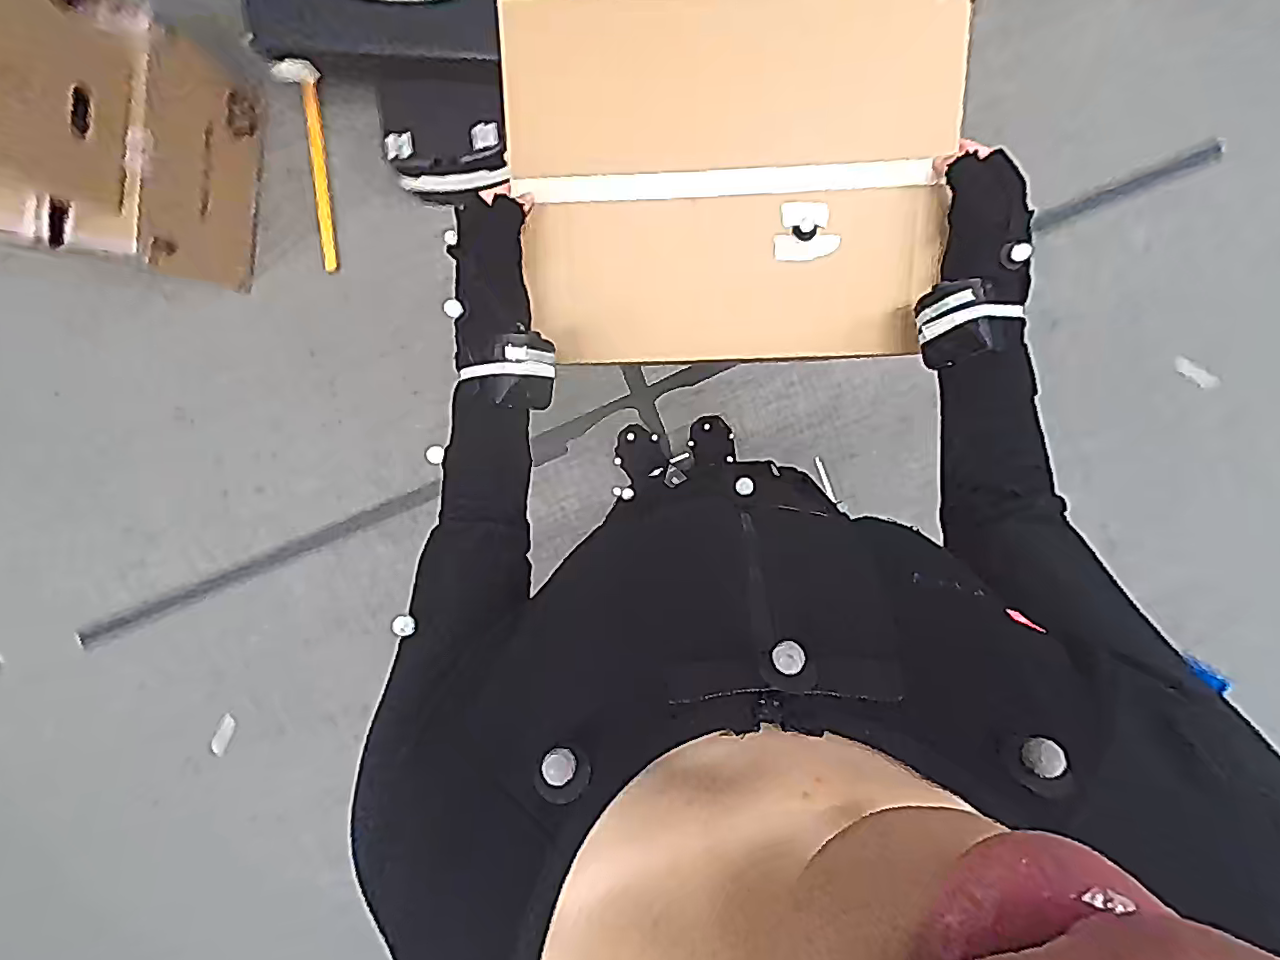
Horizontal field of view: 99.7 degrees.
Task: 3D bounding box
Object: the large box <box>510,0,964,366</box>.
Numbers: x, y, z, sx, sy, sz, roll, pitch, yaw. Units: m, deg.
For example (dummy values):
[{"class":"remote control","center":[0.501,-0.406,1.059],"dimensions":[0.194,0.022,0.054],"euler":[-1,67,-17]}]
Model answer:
[{"class":"large box","center":[0.089,-0.303,0.645],"dimensions":[0.408,0.320,0.320],"euler":[0,101,2]}]
